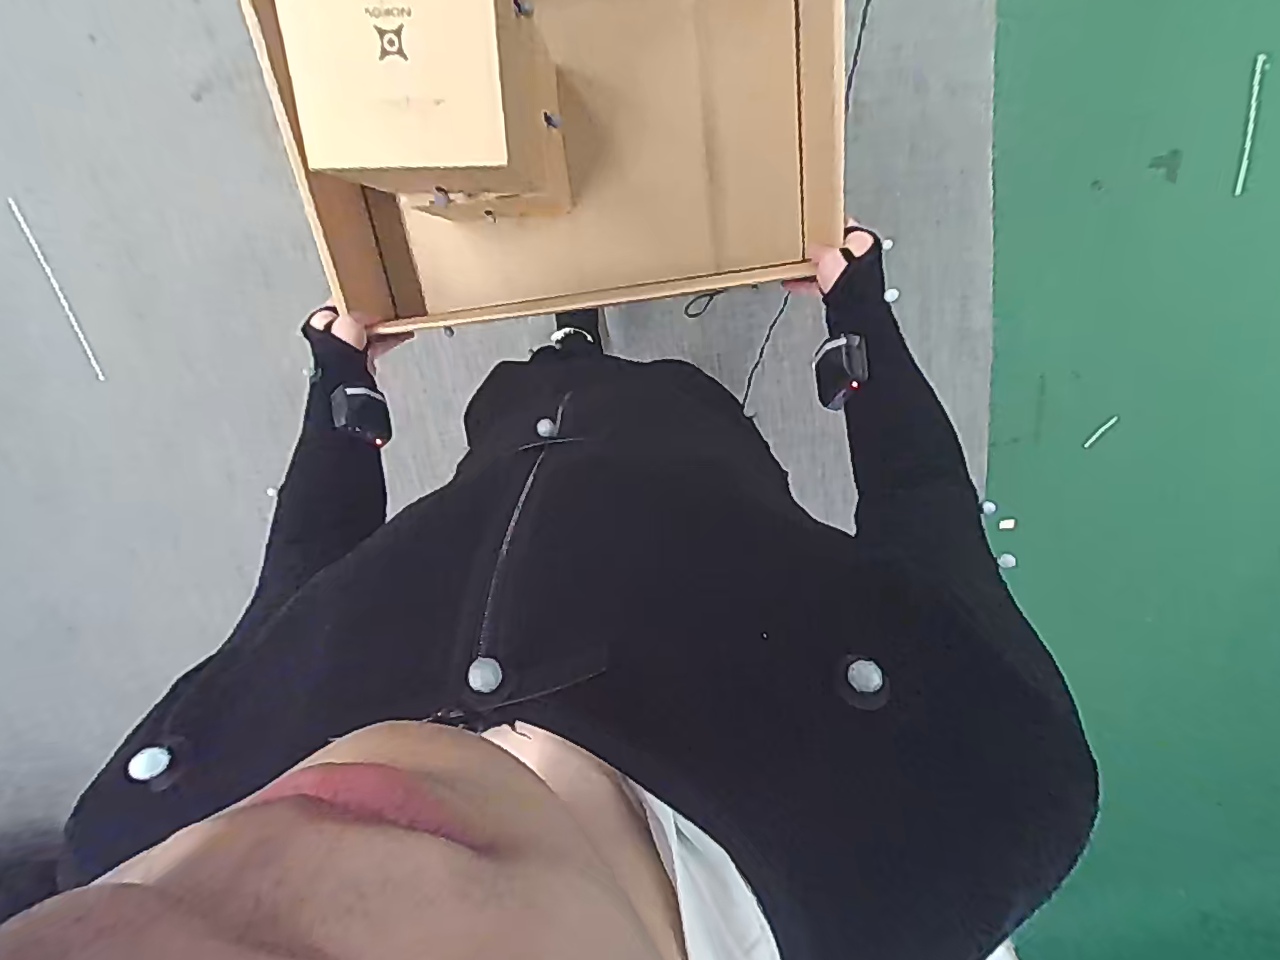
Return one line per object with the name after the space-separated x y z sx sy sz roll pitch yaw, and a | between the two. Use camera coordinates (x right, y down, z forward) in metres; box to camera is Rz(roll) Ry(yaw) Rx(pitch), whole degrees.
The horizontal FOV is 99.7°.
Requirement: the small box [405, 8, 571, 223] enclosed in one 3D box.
-0.179 -0.413 0.640 0.168 0.176 0.179 -3 111 2 | small box

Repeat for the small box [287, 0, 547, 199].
-0.181 -0.364 0.484 0.168 0.176 0.179 1 110 1 | small box
